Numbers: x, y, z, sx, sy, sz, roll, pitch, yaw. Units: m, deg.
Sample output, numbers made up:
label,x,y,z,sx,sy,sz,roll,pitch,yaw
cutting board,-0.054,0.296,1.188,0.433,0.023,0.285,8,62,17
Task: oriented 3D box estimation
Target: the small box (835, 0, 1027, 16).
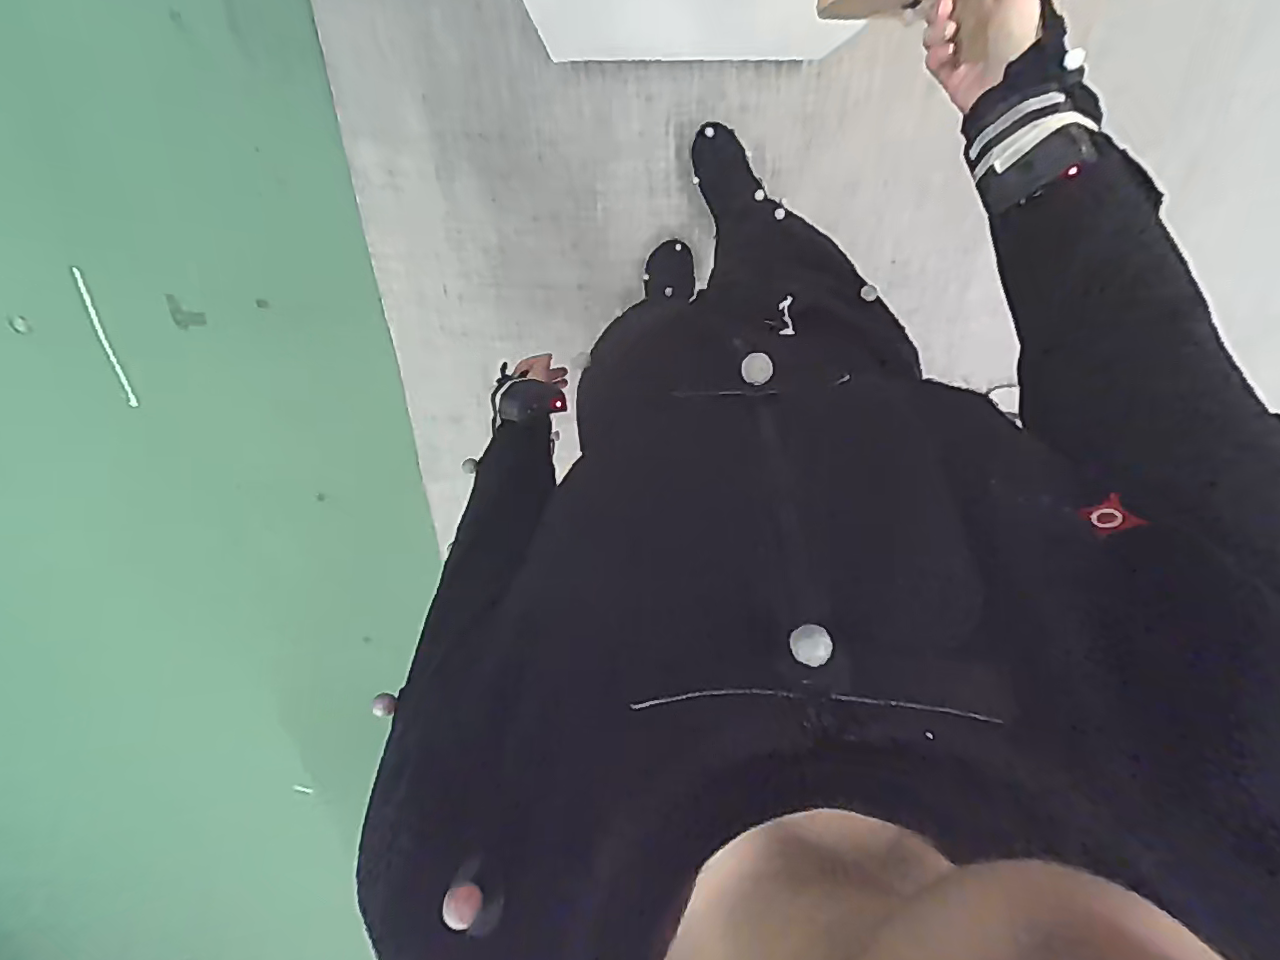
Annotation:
label,x,y,z,sx,sy,sz,roll,pitch,yaw
small box,0.252,-0.469,0.392,0.168,0.176,0.179,2,123,0
